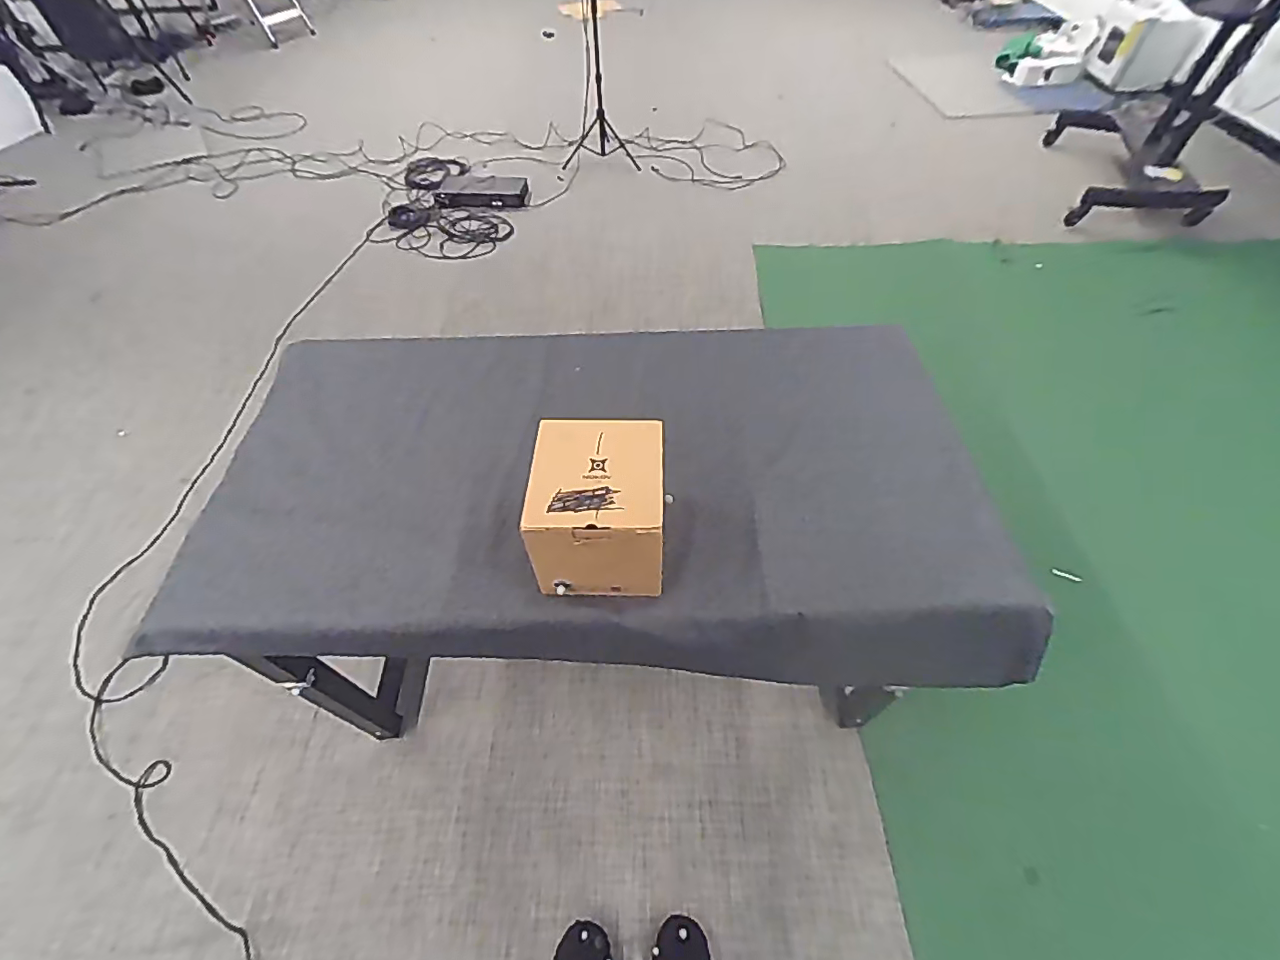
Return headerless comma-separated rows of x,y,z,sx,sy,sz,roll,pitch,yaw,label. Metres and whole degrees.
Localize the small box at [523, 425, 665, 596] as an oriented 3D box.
-0.051,0.046,0.742,0.168,0.176,0.179,2,51,2,small box
